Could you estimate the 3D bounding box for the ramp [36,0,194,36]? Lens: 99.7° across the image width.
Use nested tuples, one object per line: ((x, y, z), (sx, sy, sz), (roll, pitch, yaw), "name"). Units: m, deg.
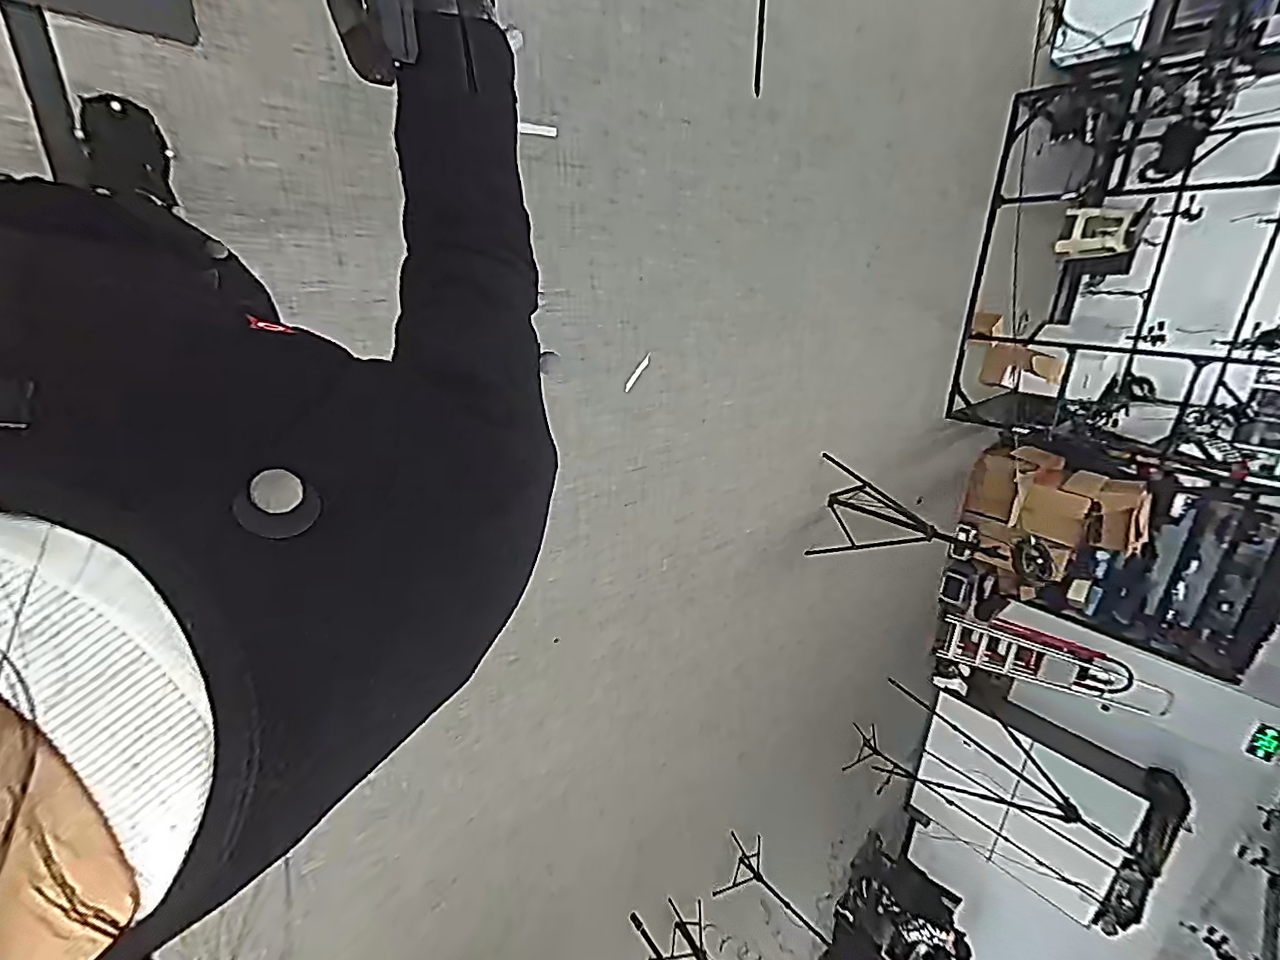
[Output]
((-0.921, -1.201, 0.620), (0.509, 0.206, 0.991), (-16, 118, -39), "ramp")
